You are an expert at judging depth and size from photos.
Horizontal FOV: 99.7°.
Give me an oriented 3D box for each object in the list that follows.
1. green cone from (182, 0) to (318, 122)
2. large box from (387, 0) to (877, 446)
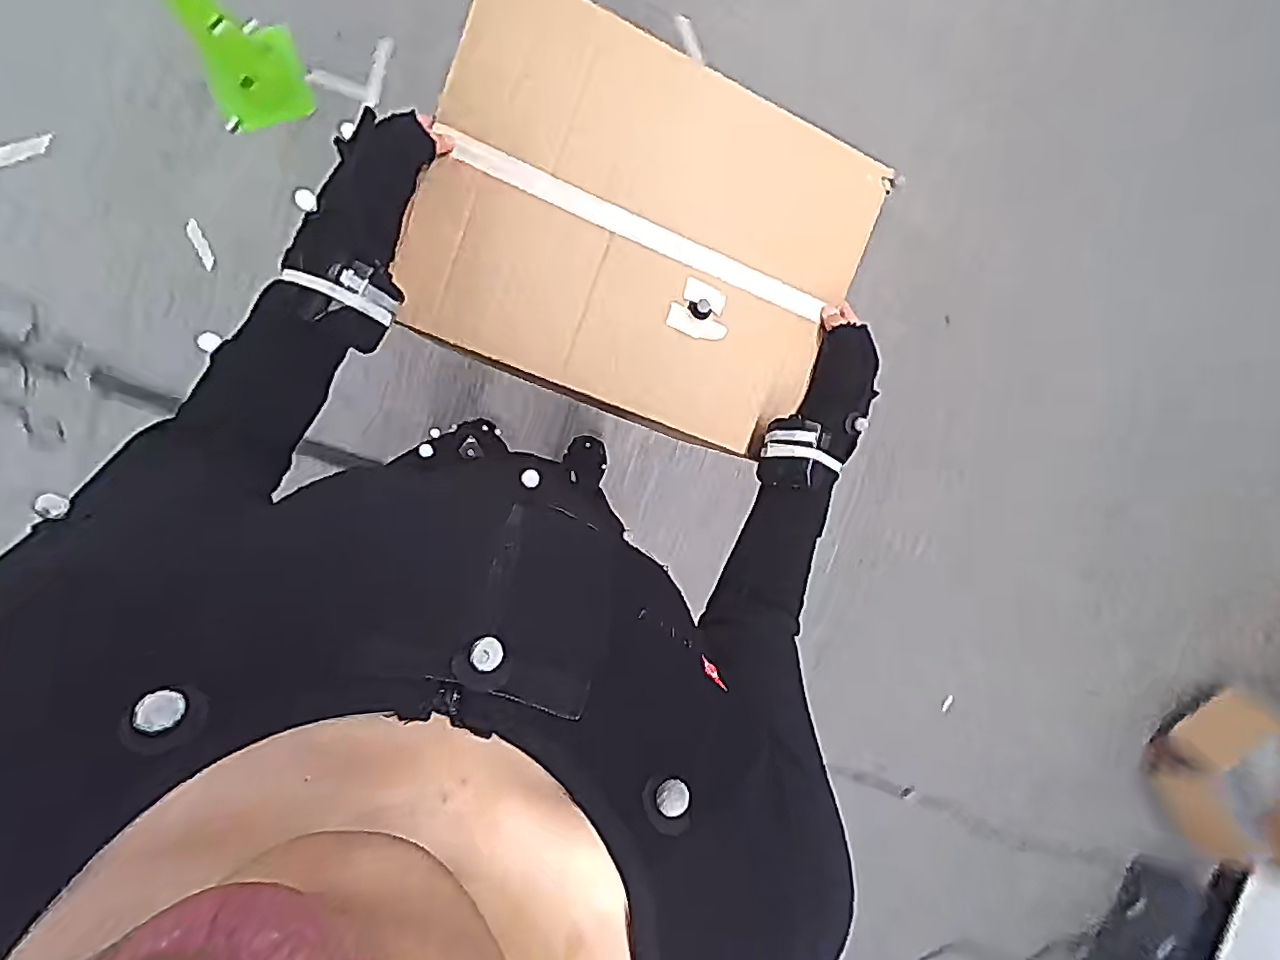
[{"bbox_3d":[-0.849,-0.937,1.086,0.200,0.368,0.202,-19,98,-7],"label":"green cone"},{"bbox_3d":[-0.023,-0.254,0.647,0.408,0.320,0.320,18,95,-14],"label":"large box"}]
